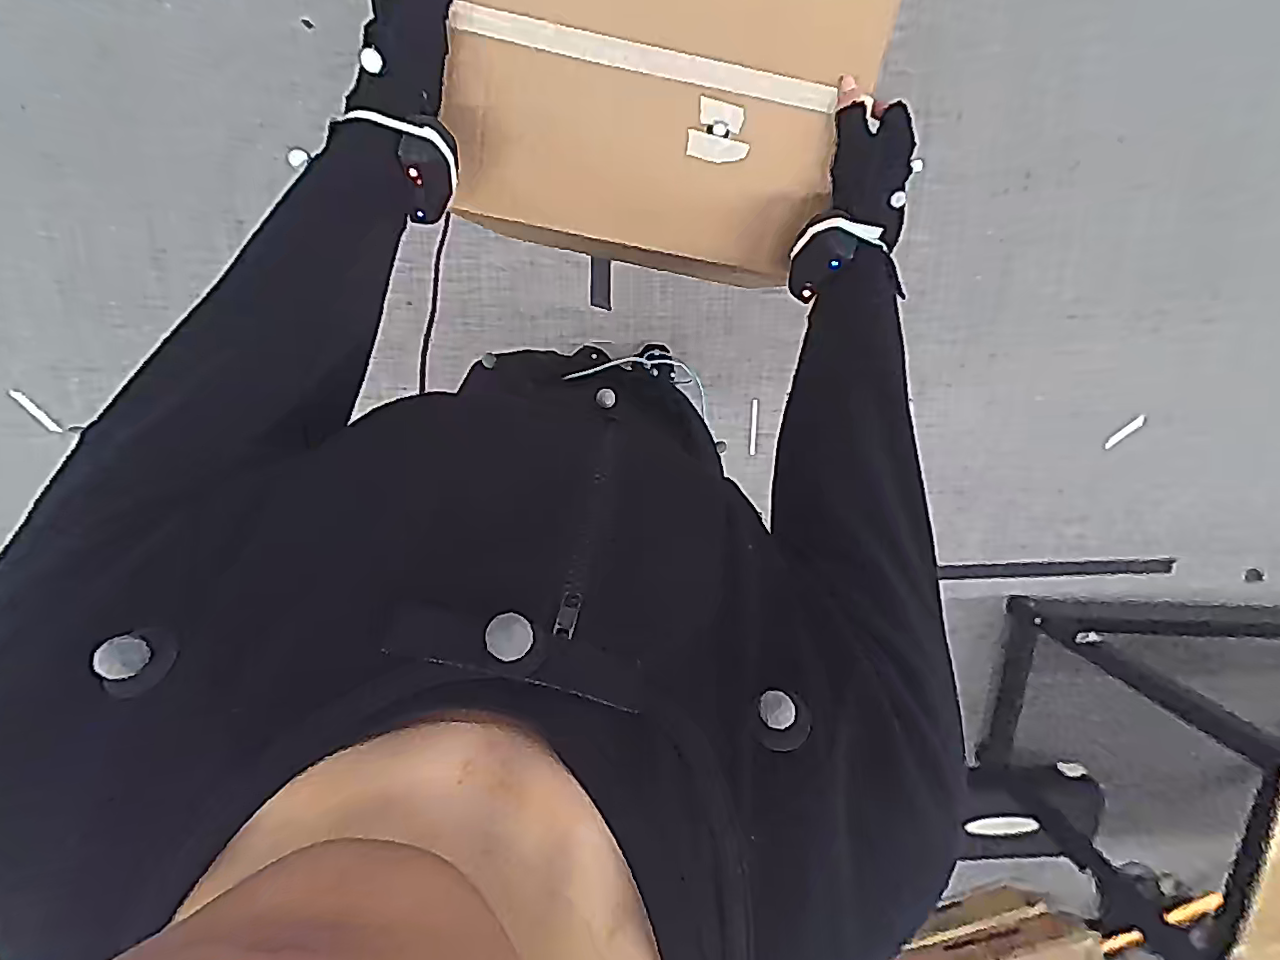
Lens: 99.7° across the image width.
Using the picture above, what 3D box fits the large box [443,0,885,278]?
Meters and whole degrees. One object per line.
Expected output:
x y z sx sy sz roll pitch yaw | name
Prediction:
0.012 -0.441 0.653 0.408 0.320 0.320 9 110 -5 | large box
